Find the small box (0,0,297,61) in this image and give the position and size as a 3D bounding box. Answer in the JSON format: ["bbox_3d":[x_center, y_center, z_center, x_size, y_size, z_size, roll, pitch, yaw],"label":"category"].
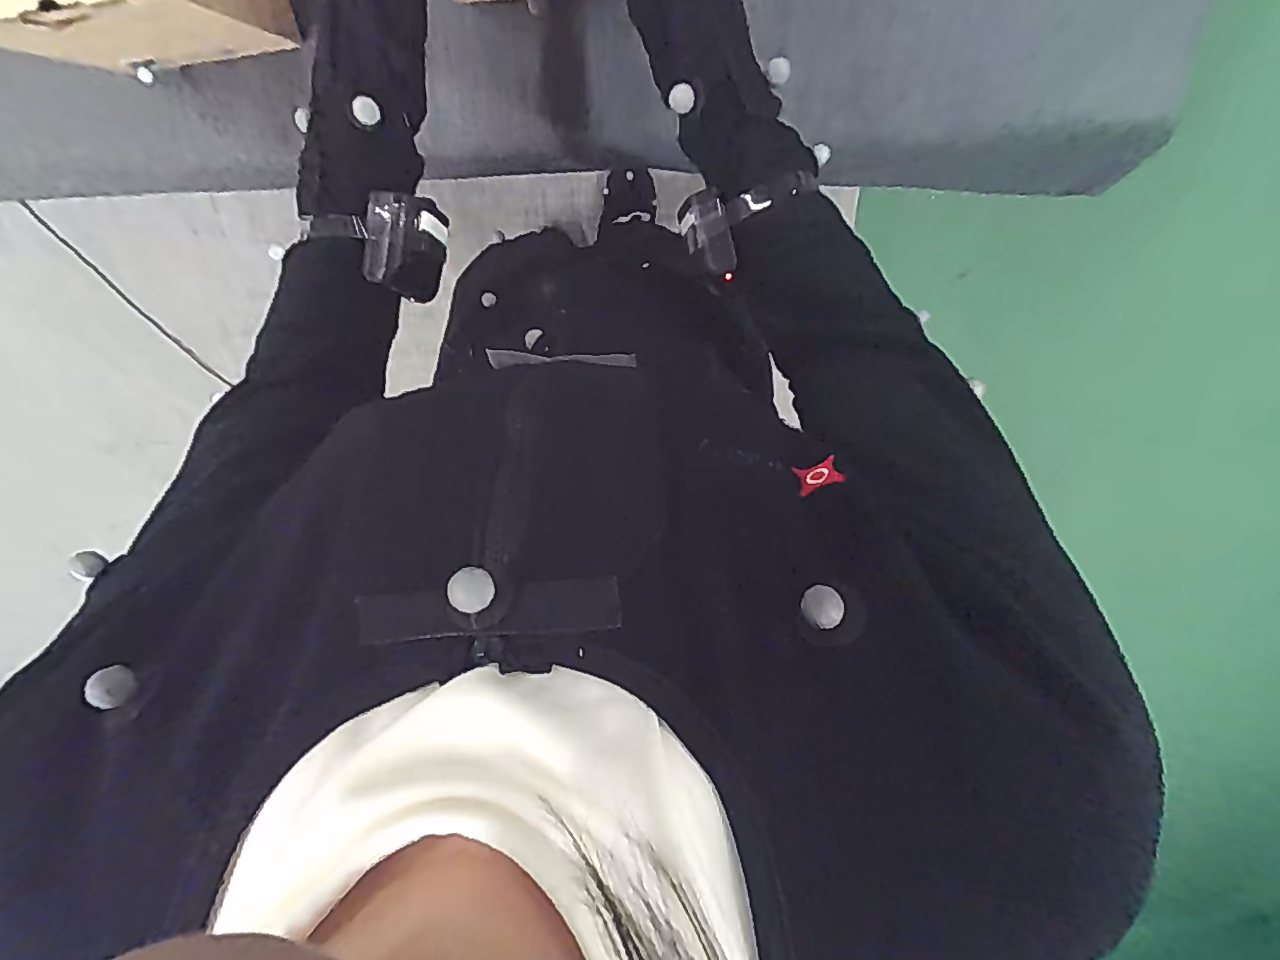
[{"bbox_3d":[-0.387,-0.418,0.378,0.168,0.176,0.179,-7,119,2],"label":"small box"}]
